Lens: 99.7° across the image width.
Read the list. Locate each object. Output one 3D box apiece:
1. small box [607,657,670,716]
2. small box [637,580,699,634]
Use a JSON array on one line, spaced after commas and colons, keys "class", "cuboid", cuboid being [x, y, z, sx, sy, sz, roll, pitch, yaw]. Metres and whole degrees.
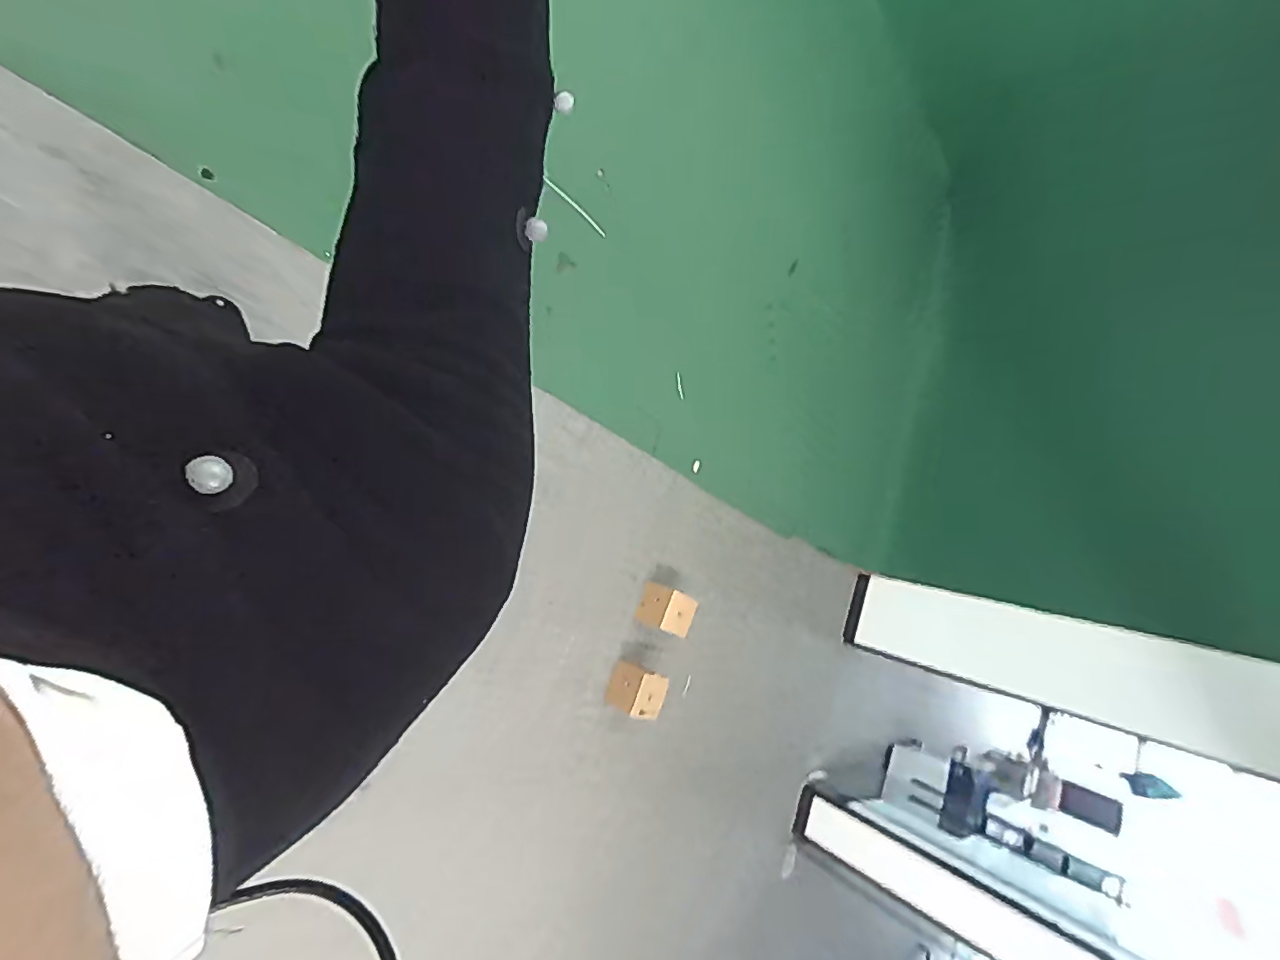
[{"class": "small box", "cuboid": [-0.009, 0.847, 2.226, 0.168, 0.176, 0.179, 30, 76, -40]}, {"class": "small box", "cuboid": [0.115, 0.535, 2.299, 0.179, 0.176, 0.168, 34, 73, -40]}]
